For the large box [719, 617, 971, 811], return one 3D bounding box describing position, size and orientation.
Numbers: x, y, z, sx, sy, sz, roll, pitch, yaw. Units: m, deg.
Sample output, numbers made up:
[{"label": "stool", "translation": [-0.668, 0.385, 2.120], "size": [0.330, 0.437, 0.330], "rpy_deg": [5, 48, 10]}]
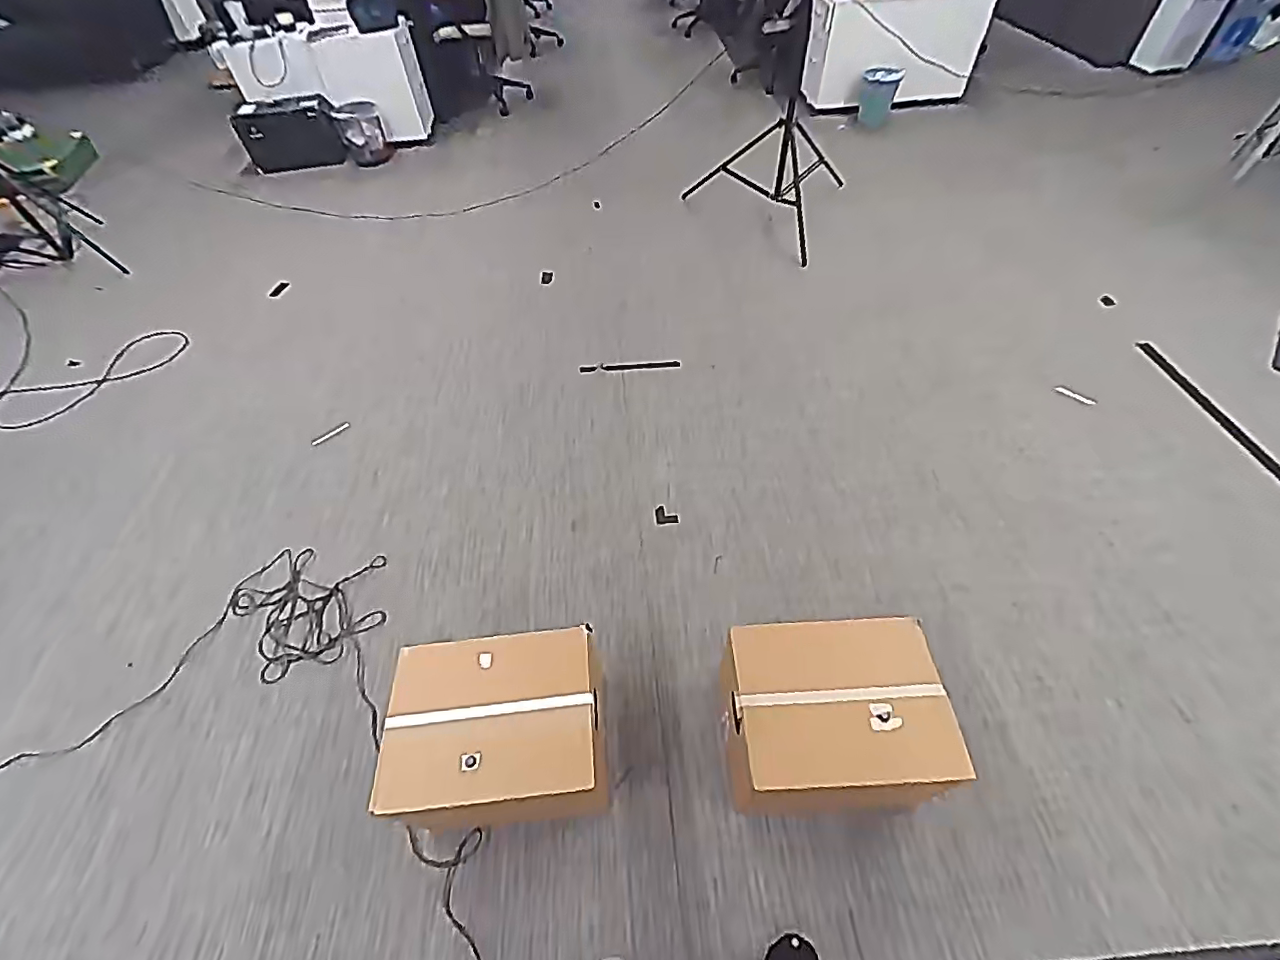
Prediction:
[{"label": "large box", "translation": [0.404, 0.519, 1.190], "size": [0.408, 0.320, 0.320], "rpy_deg": [-2, 52, 0]}]
